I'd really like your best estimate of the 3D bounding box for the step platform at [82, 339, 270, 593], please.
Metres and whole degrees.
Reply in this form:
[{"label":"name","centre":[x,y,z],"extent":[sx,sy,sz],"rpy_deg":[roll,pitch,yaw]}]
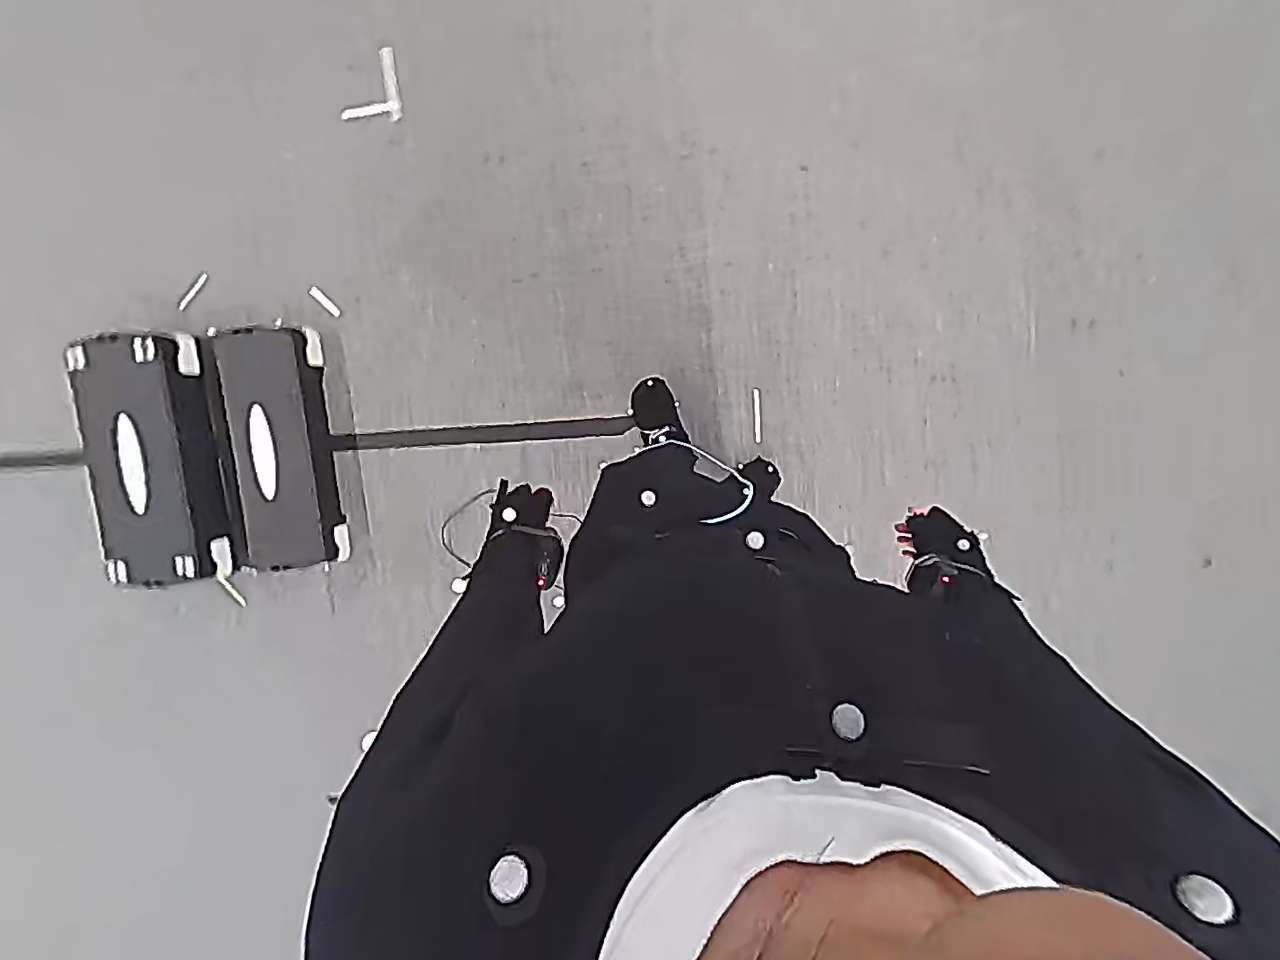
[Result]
[{"label":"step platform","centre":[-1.267,-0.037,1.490],"extent":[0.286,0.204,0.684],"rpy_deg":[-5,96,6]}]
